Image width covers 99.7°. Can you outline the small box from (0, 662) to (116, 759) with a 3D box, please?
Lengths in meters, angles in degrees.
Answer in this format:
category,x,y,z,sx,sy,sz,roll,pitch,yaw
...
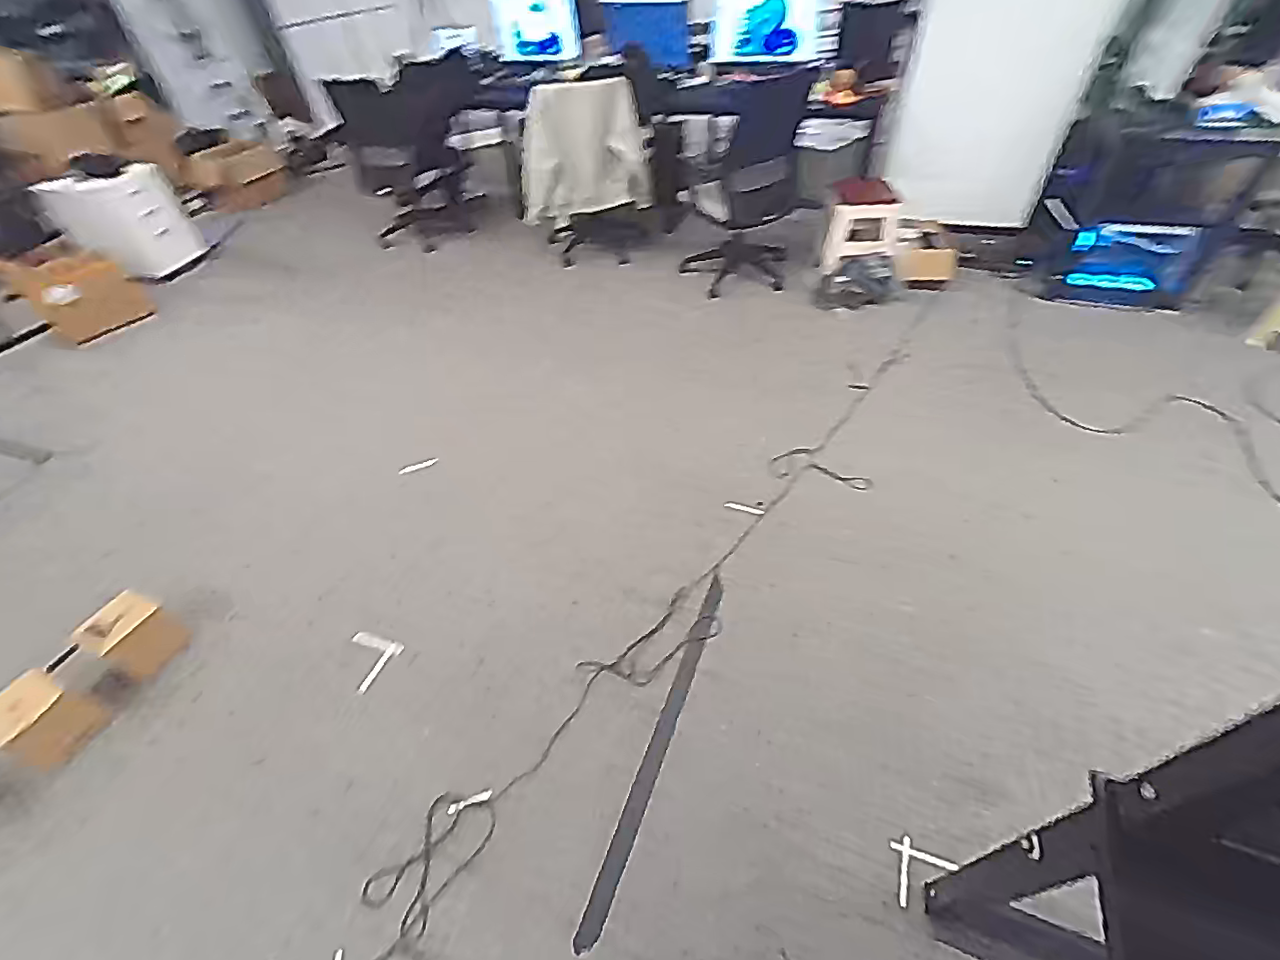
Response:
category,x,y,z,sx,sy,sz,roll,pitch,yaw
small box,-1.633,0.639,1.493,0.179,0.176,0.168,17,50,19
